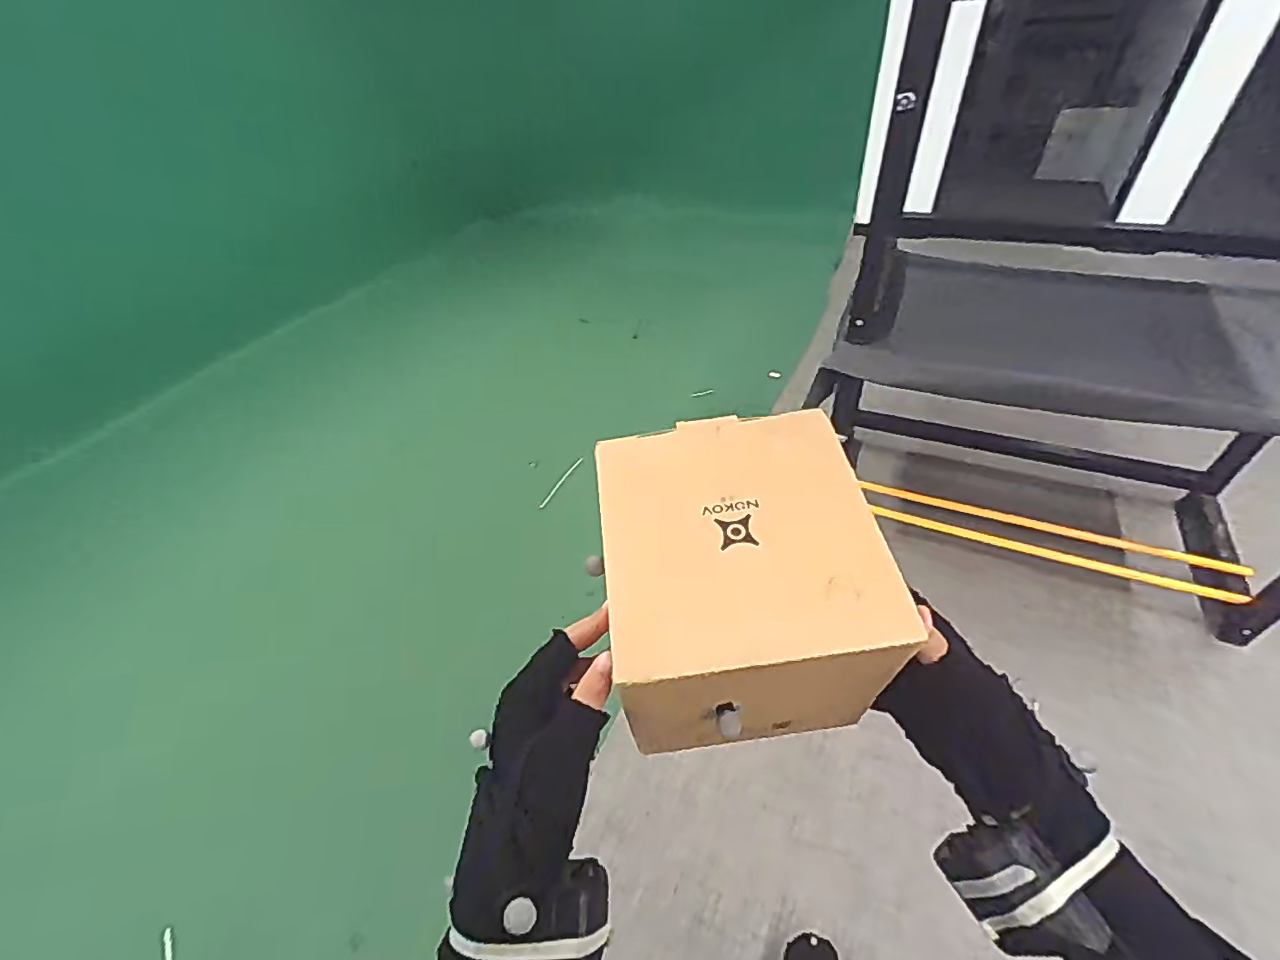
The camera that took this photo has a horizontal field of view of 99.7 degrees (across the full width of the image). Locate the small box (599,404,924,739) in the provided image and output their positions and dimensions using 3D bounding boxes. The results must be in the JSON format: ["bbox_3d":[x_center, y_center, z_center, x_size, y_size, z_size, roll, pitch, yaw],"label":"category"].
[{"bbox_3d":[0.067,0.074,0.391,0.168,0.176,0.179,-8,50,1],"label":"small box"}]
